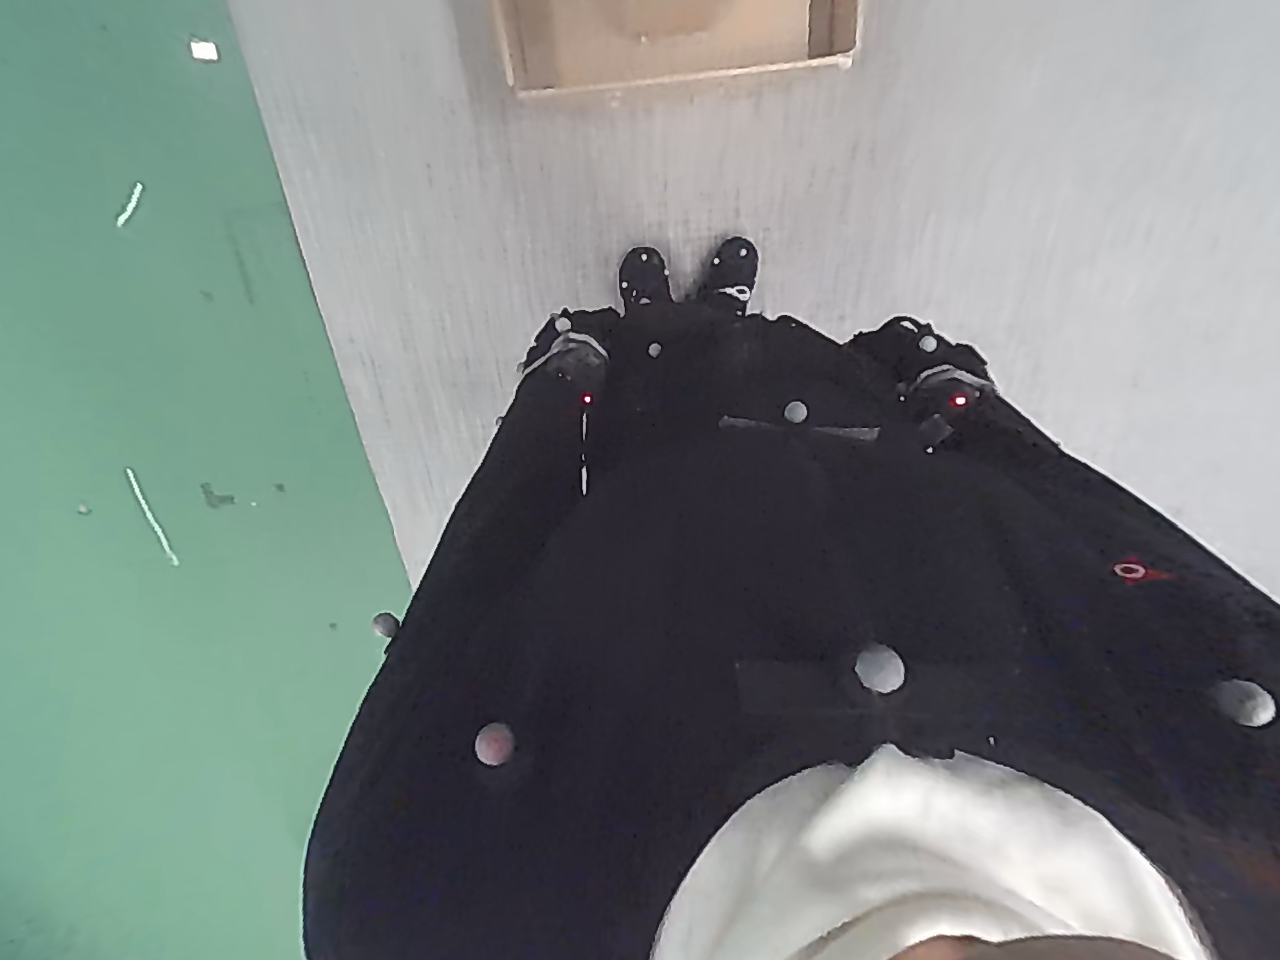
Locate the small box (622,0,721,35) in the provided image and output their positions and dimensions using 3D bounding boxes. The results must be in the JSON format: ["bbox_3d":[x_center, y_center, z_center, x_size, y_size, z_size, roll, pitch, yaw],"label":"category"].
[{"bbox_3d":[0.048,-0.894,0.926,0.168,0.176,0.179,-6,116,1],"label":"small box"}]
